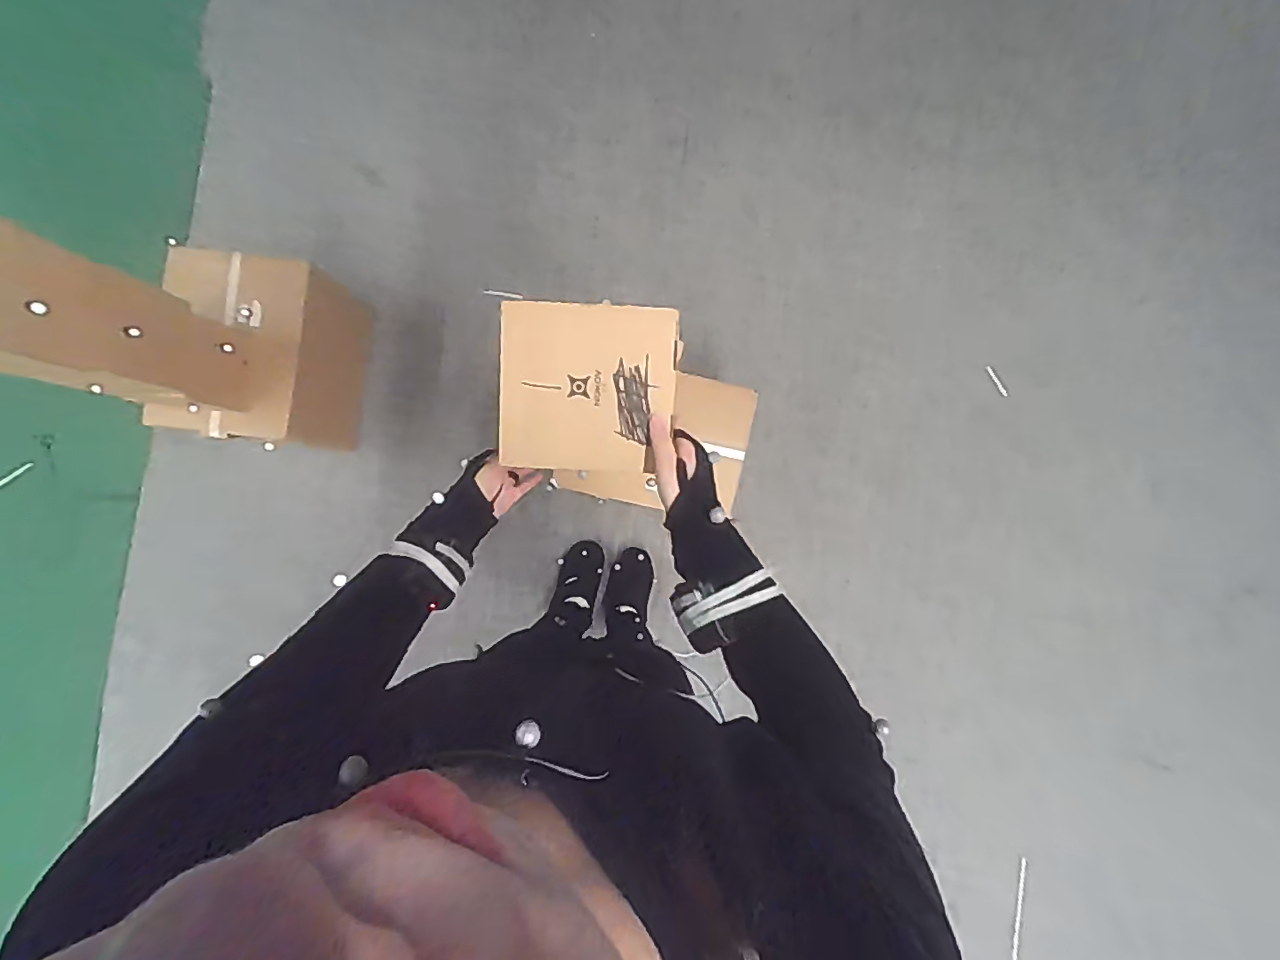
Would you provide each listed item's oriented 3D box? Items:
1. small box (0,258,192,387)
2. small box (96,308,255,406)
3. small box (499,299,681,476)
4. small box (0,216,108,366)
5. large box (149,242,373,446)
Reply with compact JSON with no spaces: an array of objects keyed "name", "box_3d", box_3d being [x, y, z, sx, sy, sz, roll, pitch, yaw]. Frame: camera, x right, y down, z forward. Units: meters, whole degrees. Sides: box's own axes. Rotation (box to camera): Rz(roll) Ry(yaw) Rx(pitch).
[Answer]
[{"name":"small box","box_3d":[-0.913,-0.260,0.922,0.168,0.176,0.179,1,87,-2]},{"name":"small box","box_3d":[-0.919,-0.247,1.085,0.179,0.176,0.168,5,87,0]},{"name":"small box","box_3d":[-0.052,-0.100,0.614,0.179,0.176,0.168,3,96,0]},{"name":"small box","box_3d":[-0.908,-0.264,0.758,0.168,0.176,0.179,3,88,-1]},{"name":"large box","box_3d":[-0.900,-0.307,1.332,0.320,0.320,0.408,6,87,-1]}]
